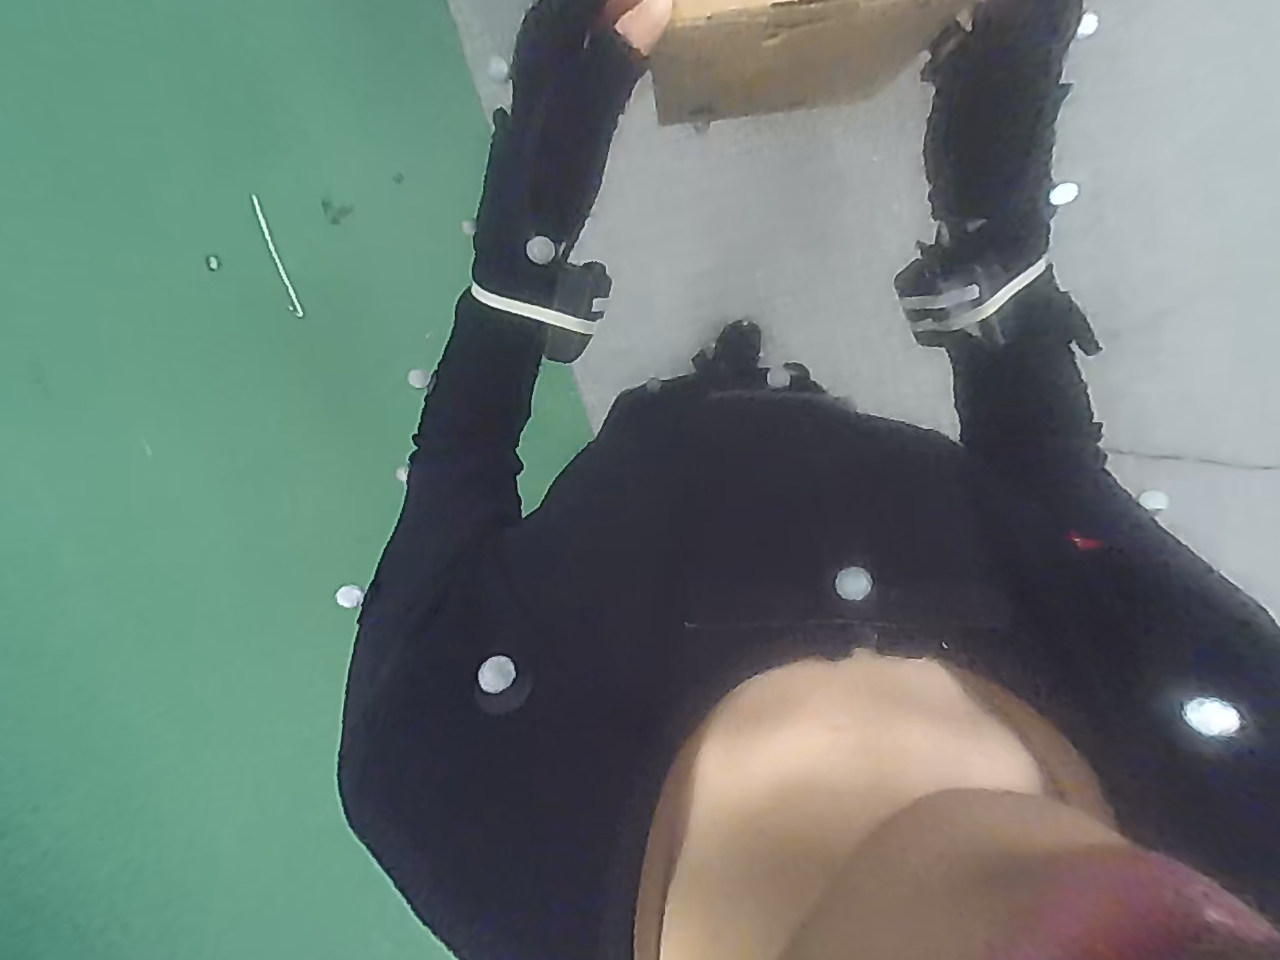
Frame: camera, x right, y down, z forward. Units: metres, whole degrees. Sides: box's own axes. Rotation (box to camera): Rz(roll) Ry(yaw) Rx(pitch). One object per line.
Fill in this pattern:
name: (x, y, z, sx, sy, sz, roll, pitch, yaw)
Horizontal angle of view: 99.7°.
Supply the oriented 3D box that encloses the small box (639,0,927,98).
small box: (0.081, -0.344, 0.306, 0.168, 0.176, 0.179, -3, 107, 5)
